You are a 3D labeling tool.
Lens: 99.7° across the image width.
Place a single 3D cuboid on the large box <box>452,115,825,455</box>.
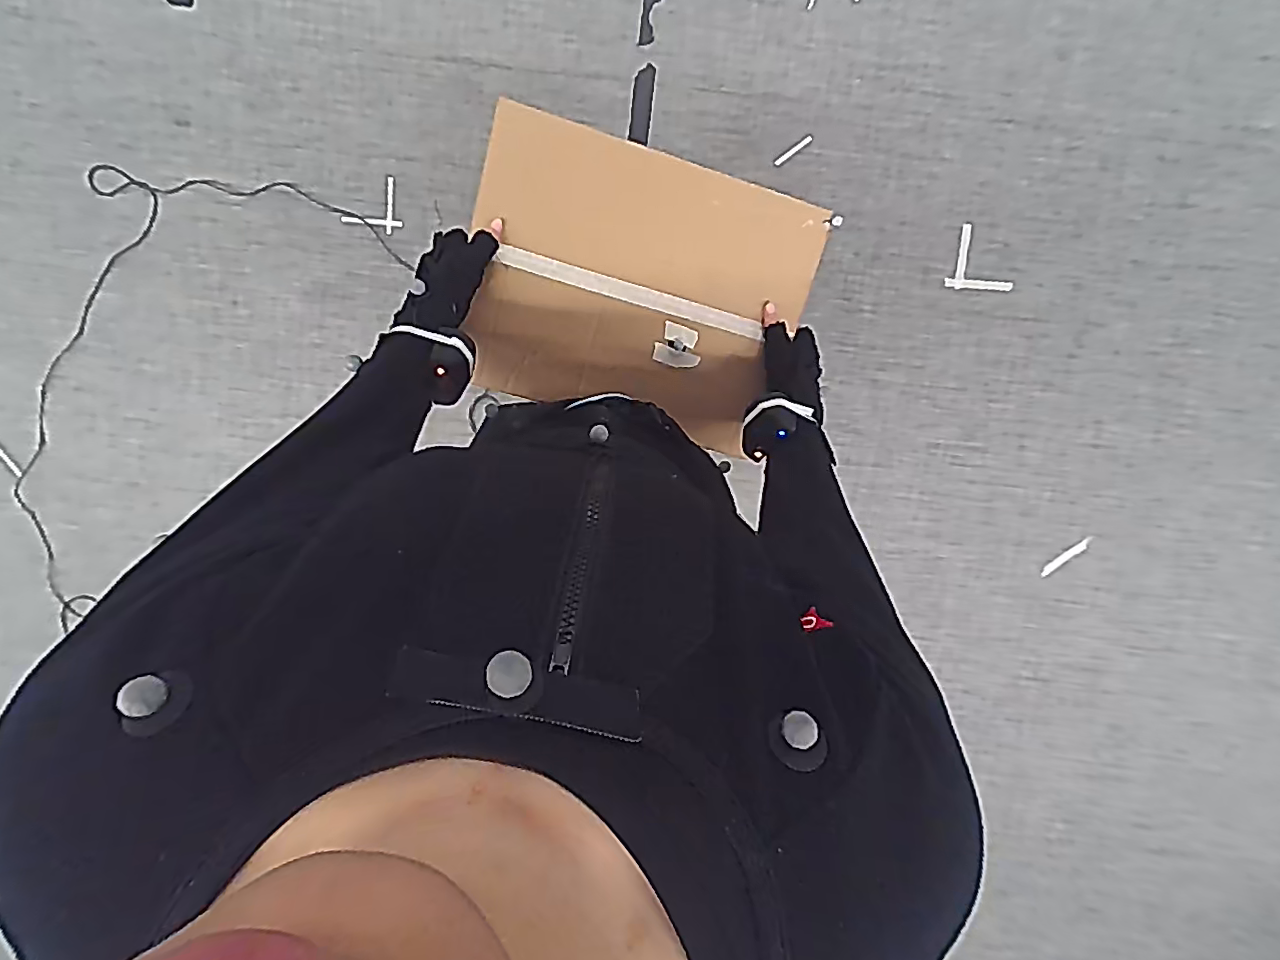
[{"bbox_3d":[-0.016,-0.254,0.804,0.408,0.320,0.320,15,102,-8],"label":"large box"}]
